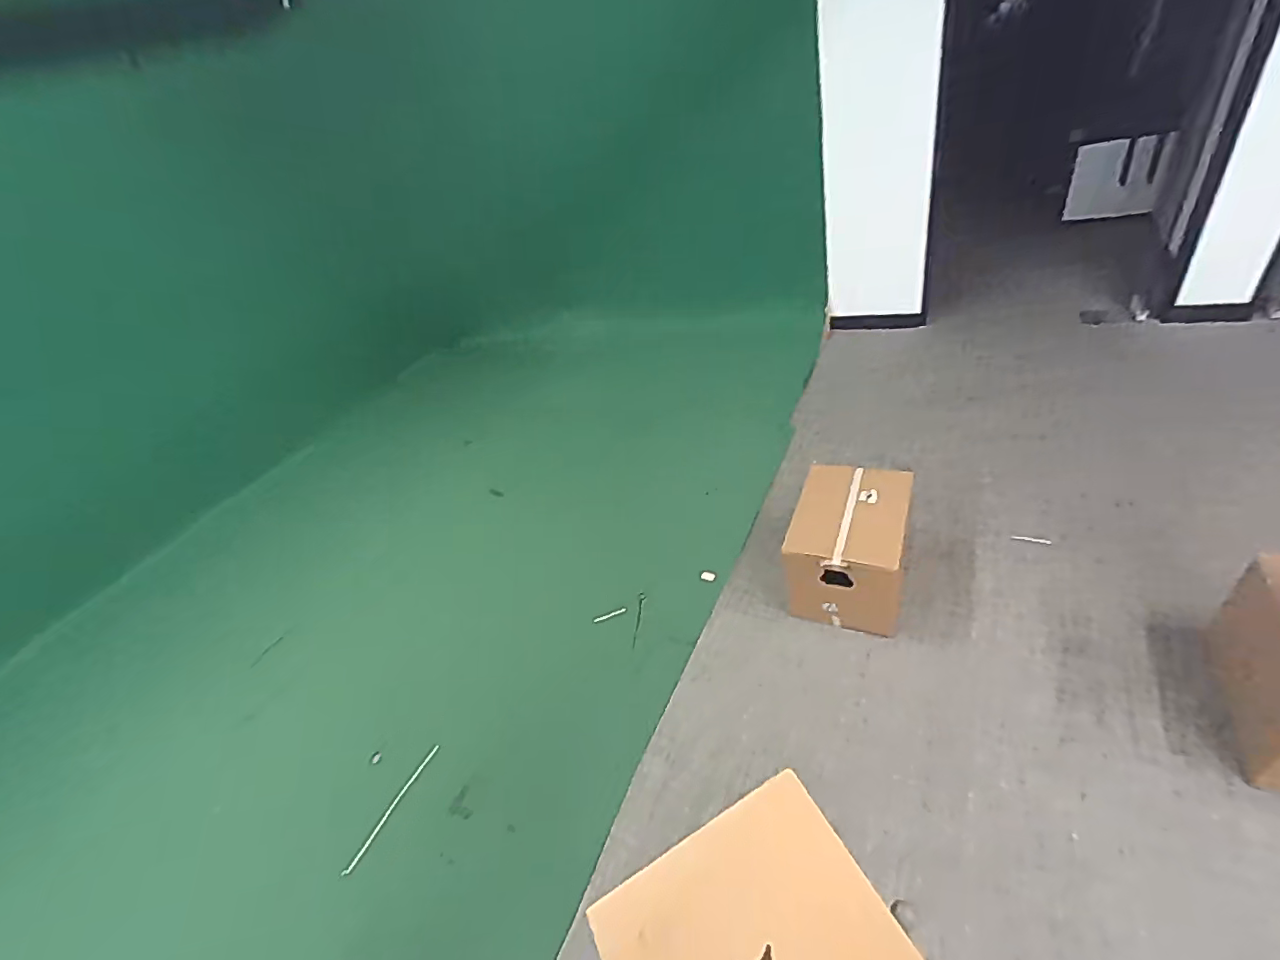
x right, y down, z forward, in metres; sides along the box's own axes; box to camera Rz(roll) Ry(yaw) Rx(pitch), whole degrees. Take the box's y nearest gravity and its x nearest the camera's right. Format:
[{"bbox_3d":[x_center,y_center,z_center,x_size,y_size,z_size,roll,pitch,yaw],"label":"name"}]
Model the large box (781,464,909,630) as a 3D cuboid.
[{"bbox_3d":[0.658,0.201,1.704,0.320,0.320,0.408,6,44,29],"label":"large box"}]
